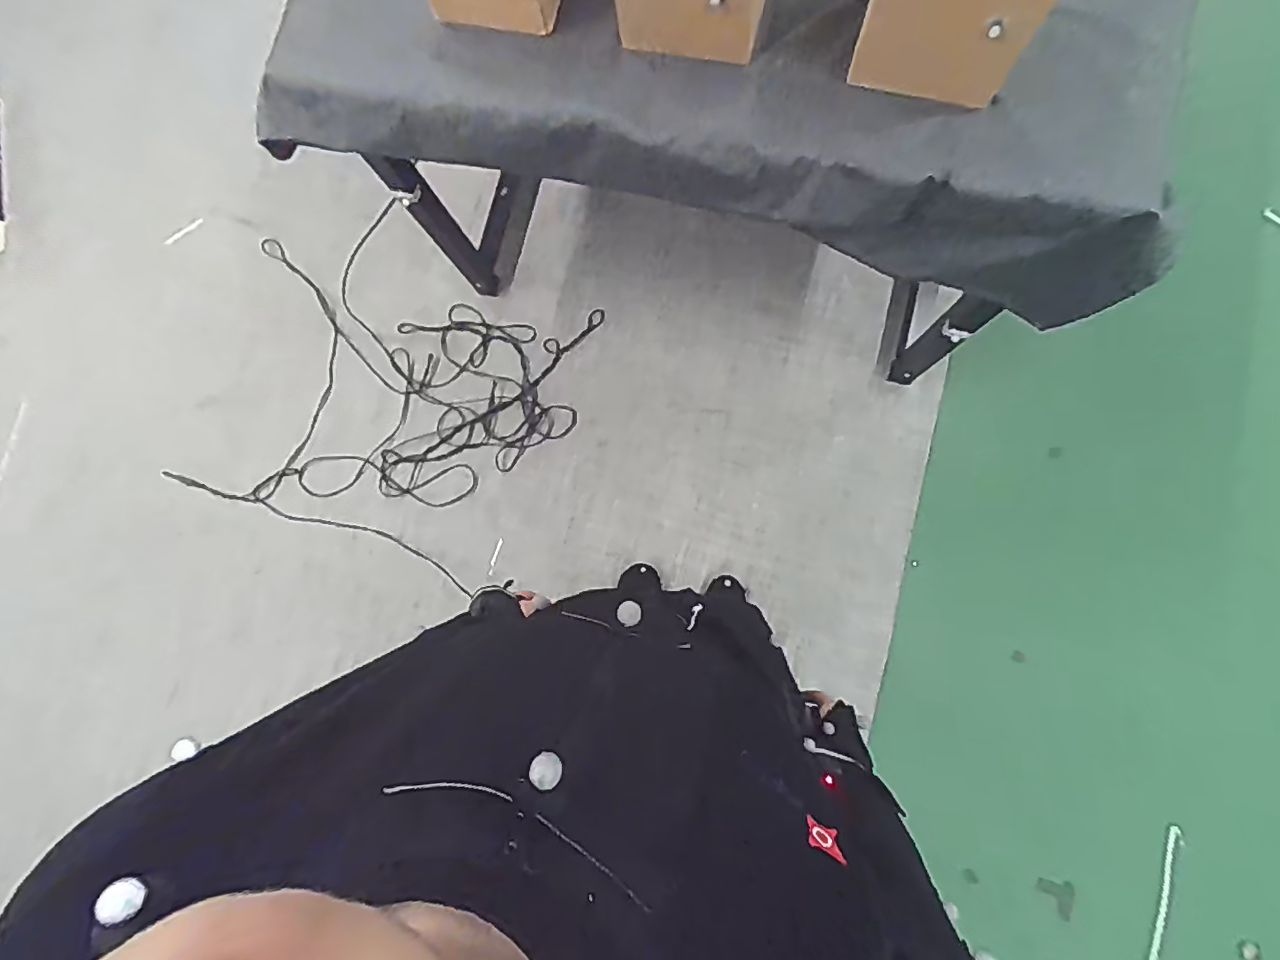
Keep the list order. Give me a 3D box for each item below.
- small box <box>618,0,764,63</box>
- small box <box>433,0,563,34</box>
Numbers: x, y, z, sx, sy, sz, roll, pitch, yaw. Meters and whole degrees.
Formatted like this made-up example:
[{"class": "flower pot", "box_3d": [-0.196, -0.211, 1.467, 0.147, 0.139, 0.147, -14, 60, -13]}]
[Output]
[{"class": "small box", "box_3d": [0.073, -0.655, 0.658, 0.179, 0.176, 0.168, 13, 83, 9]}, {"class": "small box", "box_3d": [-0.196, -0.725, 0.696, 0.179, 0.176, 0.168, 13, 83, 7]}]
